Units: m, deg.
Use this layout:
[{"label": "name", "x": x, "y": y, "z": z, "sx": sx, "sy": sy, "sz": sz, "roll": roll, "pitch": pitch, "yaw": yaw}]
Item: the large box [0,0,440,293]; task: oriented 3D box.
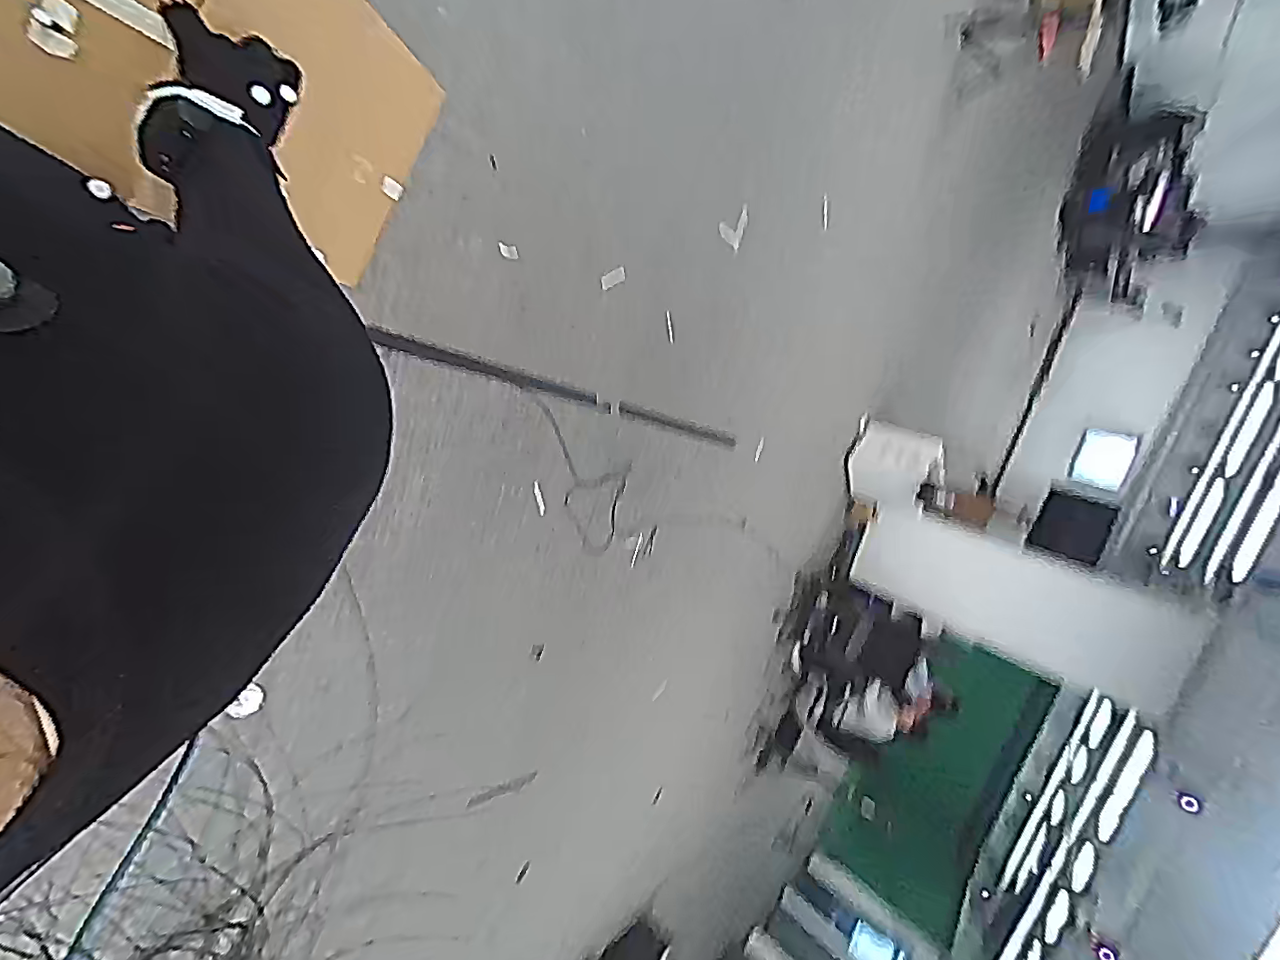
[{"label": "large box", "x": -0.548, "y": -0.496, "z": 0.670, "sx": 0.320, "sy": 0.408, "sz": 0.320, "roll": -59, "pitch": 175, "yaw": 10}]
